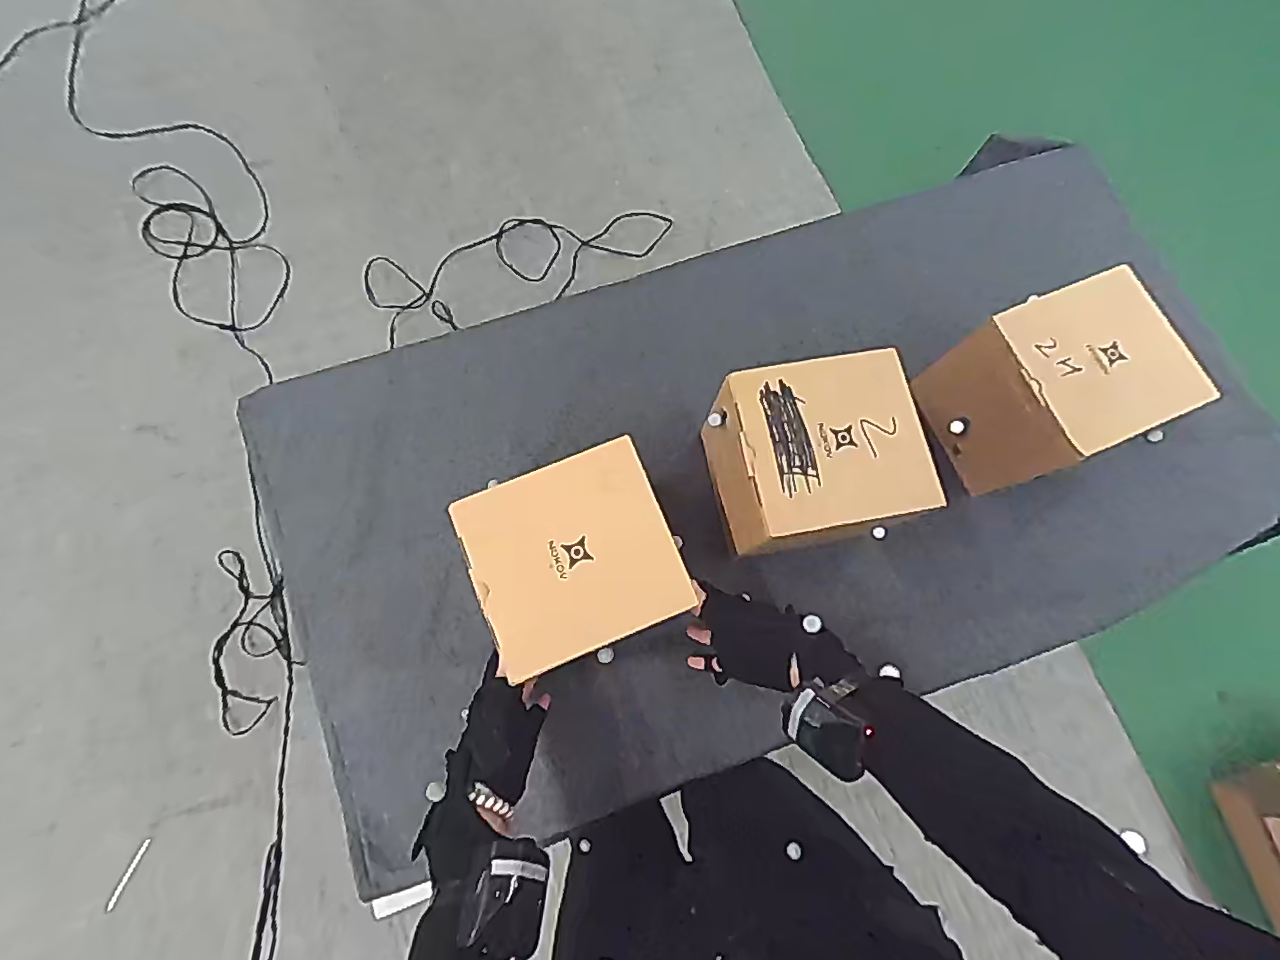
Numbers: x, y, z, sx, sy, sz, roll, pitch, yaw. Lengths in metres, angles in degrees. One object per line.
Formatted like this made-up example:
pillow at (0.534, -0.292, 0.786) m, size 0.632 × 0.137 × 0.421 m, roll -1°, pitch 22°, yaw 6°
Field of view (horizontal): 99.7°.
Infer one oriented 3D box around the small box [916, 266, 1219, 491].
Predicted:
small box at (0.465, -0.104, 0.620) m, size 0.179 × 0.176 × 0.168 m, roll -21°, pitch 77°, yaw -7°
